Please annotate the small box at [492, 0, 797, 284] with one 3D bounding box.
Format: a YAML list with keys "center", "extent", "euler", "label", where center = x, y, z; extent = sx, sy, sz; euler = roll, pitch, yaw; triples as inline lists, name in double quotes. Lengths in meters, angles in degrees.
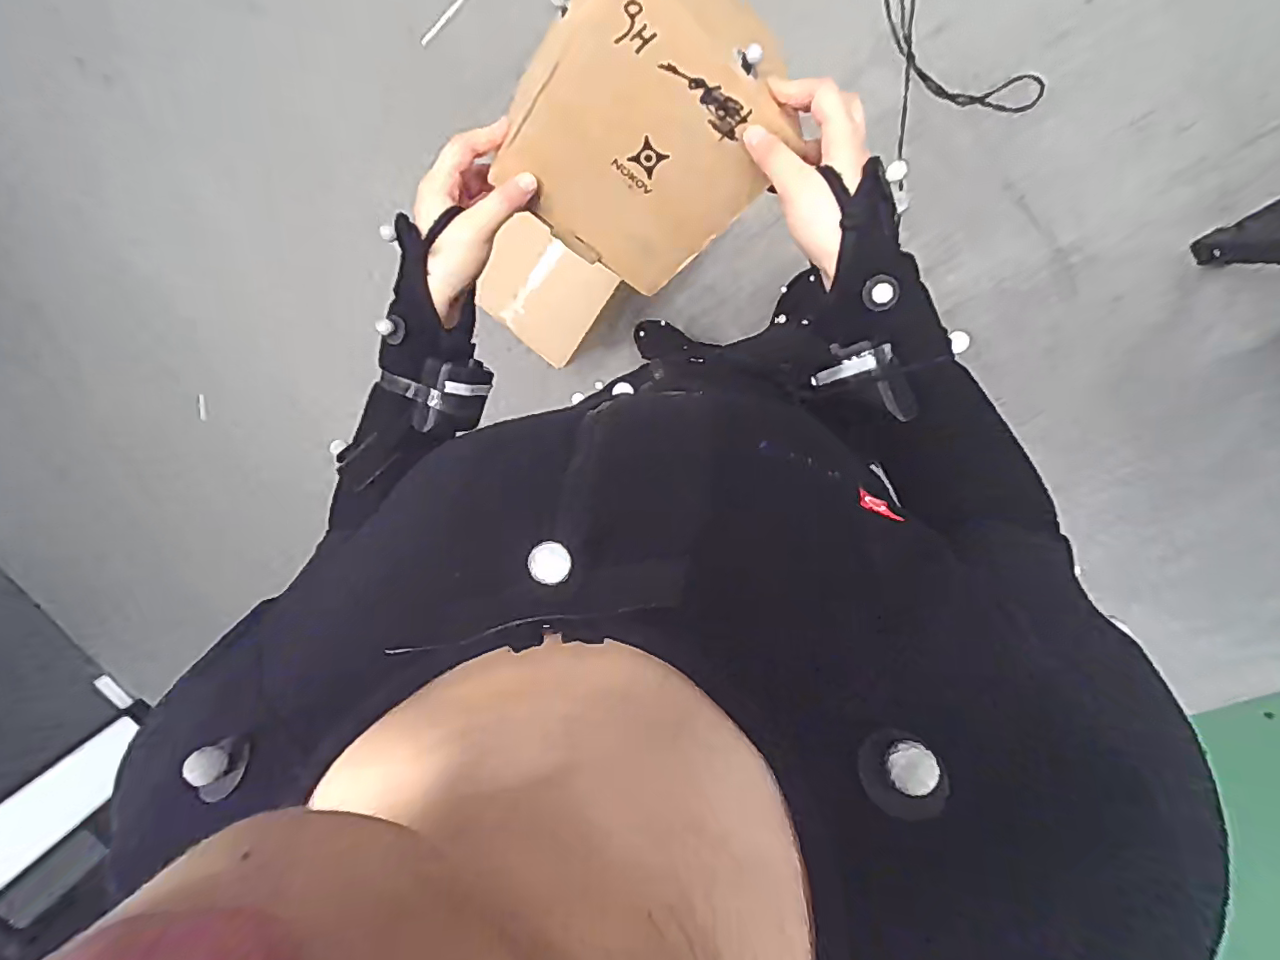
- center: [0.007, -0.309, 0.442]
  extent: [0.168, 0.176, 0.179]
  euler: [26, 143, -31]
  label: "small box"
